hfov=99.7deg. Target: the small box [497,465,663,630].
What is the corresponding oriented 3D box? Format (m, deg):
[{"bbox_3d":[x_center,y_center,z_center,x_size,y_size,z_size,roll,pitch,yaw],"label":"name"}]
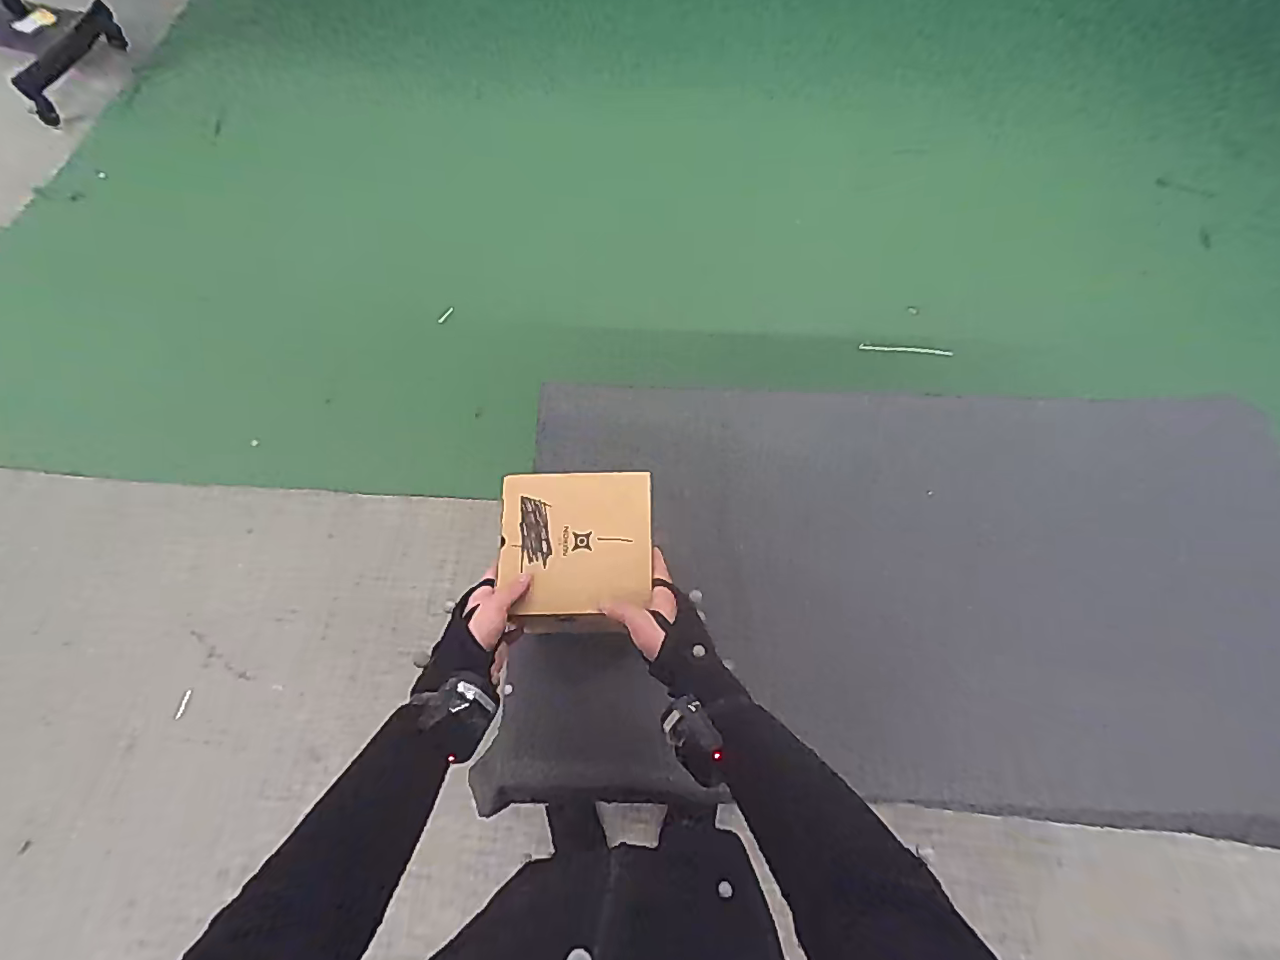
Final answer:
[{"bbox_3d":[-0.064,0.091,0.667,0.179,0.176,0.168,1,67,-2],"label":"small box"}]
